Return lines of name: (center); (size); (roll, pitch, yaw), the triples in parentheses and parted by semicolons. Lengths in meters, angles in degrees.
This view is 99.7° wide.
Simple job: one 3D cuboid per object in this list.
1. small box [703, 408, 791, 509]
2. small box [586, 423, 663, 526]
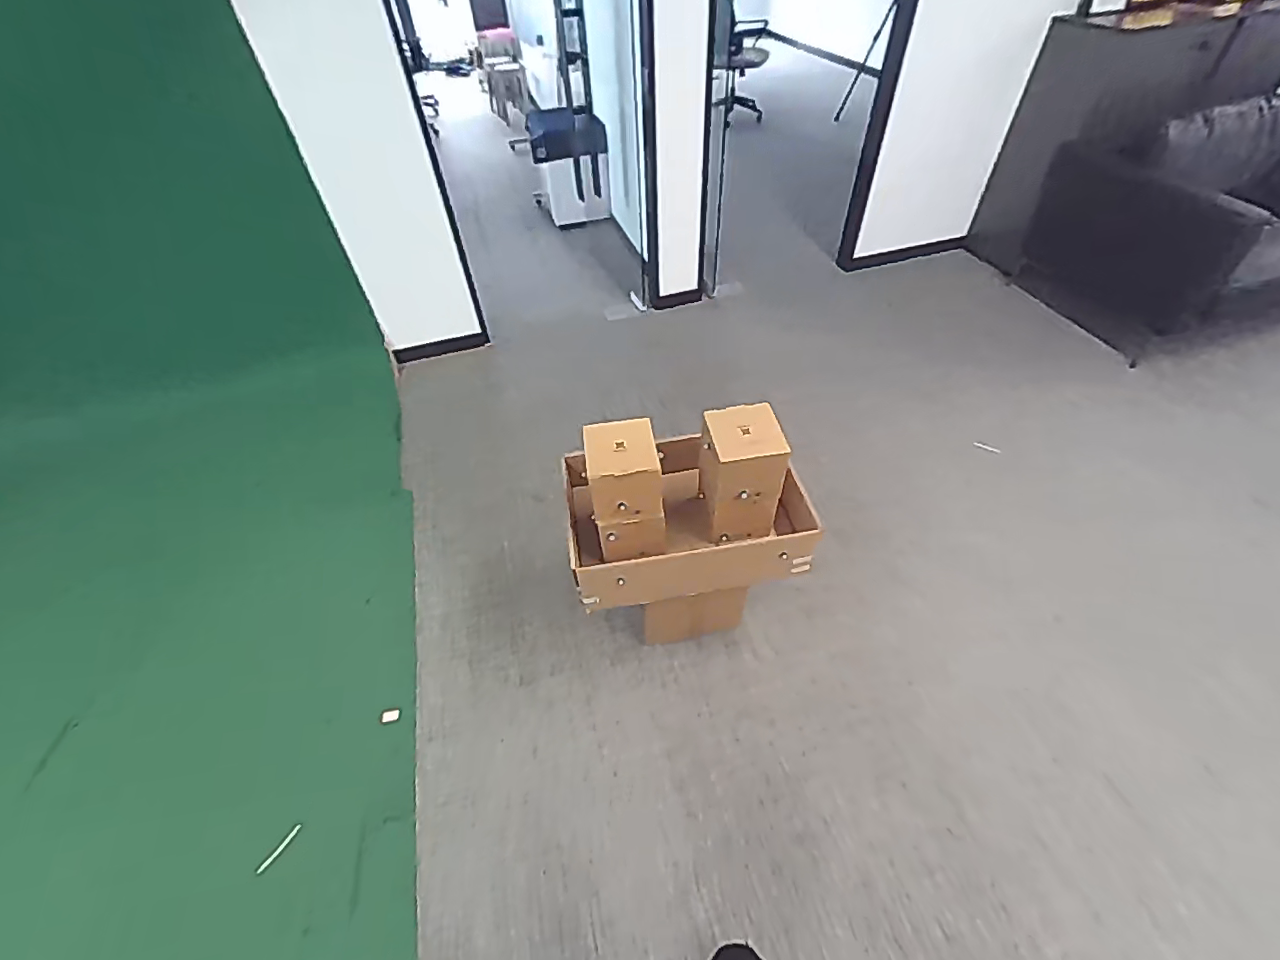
small box: (0.253, -0.052, 1.326); (0.168, 0.176, 0.179); (-8, 49, -3)
small box: (-0.038, -0.013, 1.309); (0.168, 0.176, 0.179); (-7, 48, -4)
